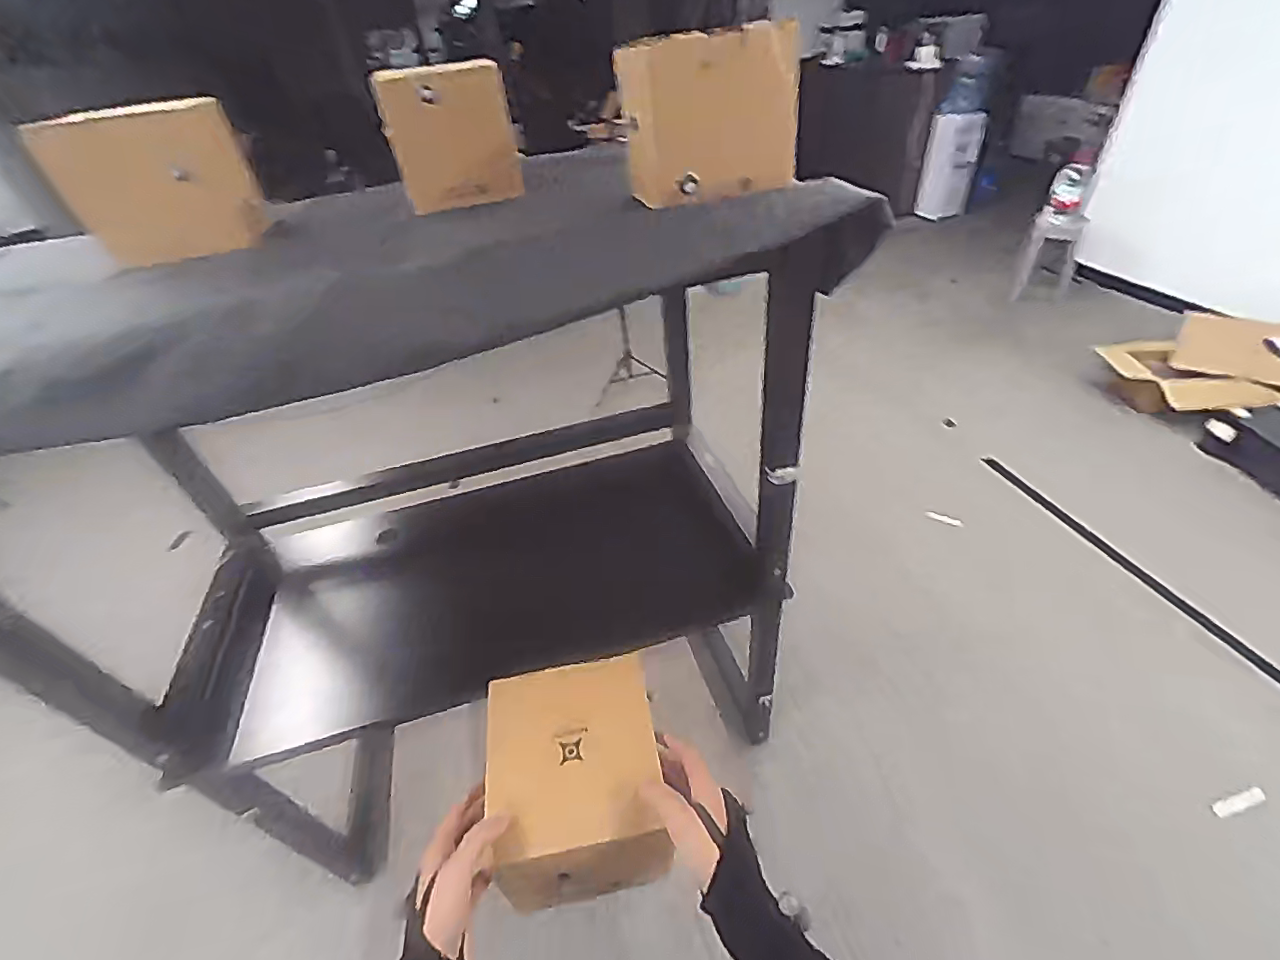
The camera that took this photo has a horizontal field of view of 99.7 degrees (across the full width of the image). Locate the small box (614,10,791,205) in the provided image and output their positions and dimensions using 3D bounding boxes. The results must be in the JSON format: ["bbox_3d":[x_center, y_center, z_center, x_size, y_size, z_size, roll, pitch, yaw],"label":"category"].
[{"bbox_3d":[0.074,-0.452,0.670,0.168,0.176,0.179,-14,37,-6],"label":"small box"}]

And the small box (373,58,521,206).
[{"bbox_3d":[-0.291,-0.539,0.839,0.168,0.176,0.179,-16,40,-9],"label":"small box"}]
